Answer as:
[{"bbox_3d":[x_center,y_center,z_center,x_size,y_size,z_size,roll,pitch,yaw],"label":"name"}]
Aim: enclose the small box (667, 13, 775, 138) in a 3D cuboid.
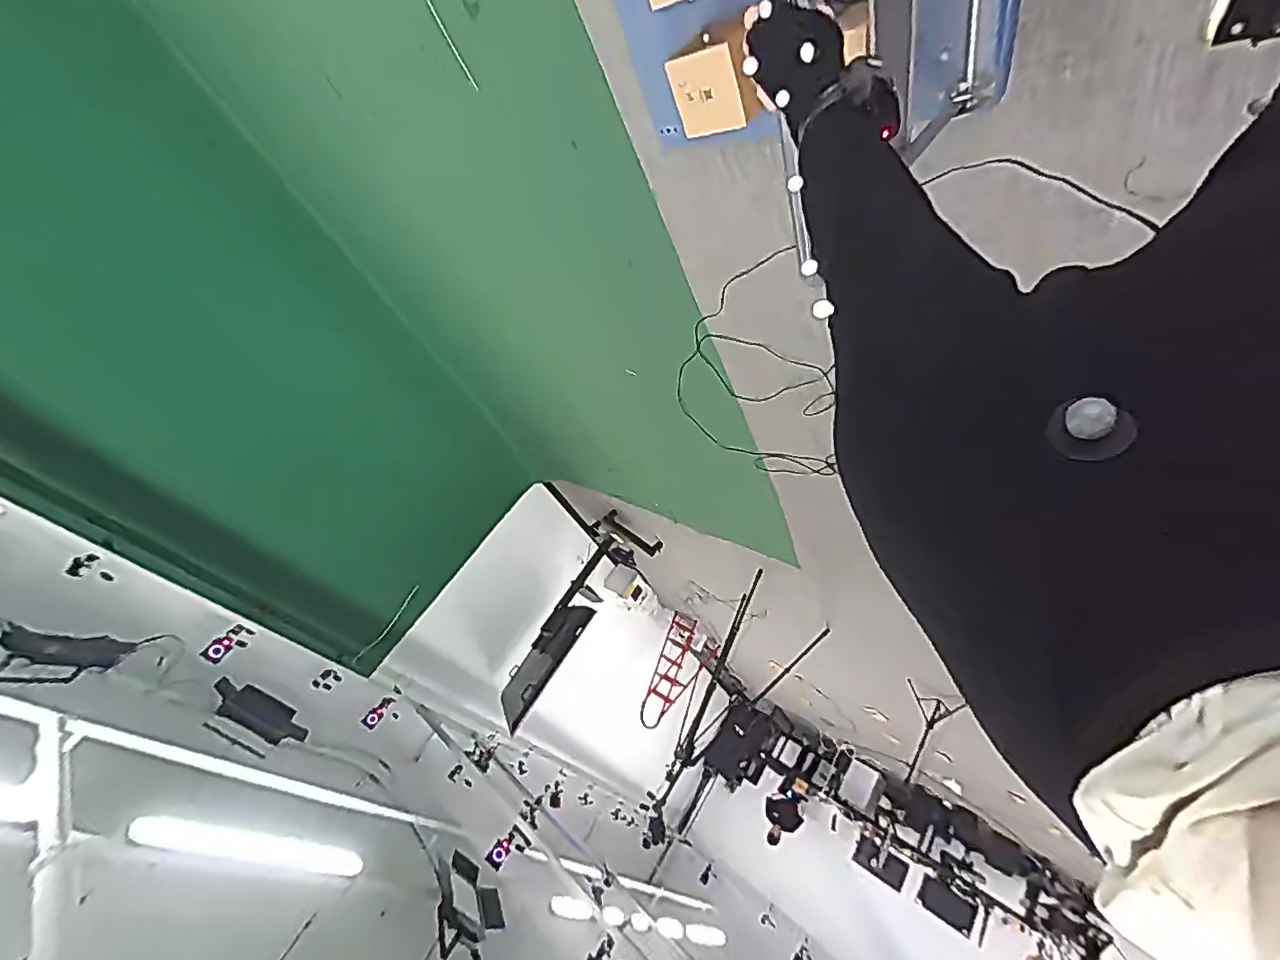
[{"bbox_3d":[0.198,-0.937,1.258,0.179,0.176,0.168,18,152,40],"label":"small box"}]
